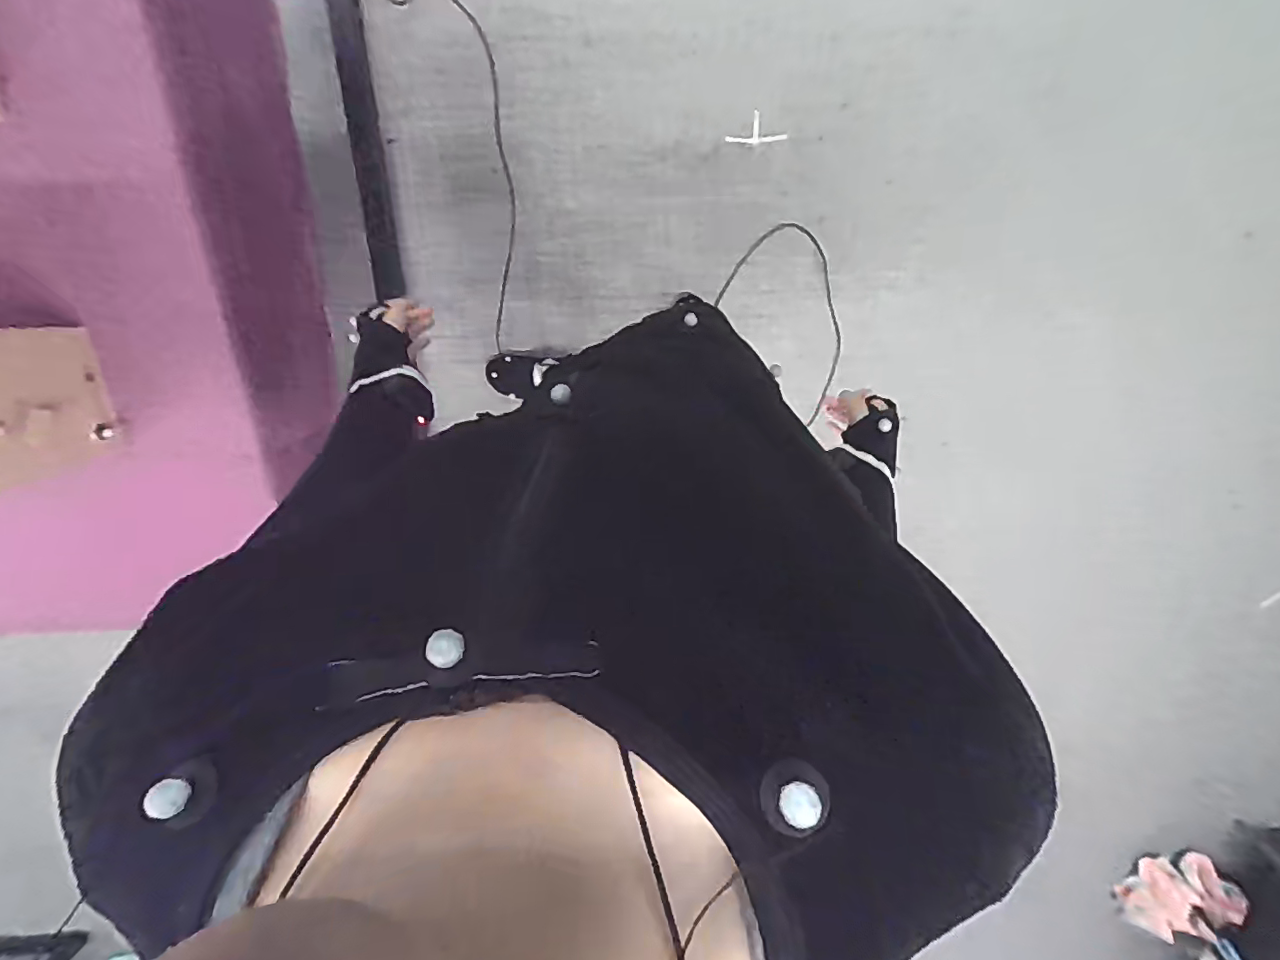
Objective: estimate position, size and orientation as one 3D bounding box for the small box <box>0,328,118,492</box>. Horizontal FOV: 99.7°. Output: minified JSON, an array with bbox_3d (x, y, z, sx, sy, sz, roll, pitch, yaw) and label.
[{"bbox_3d":[-0.788,-0.090,0.645,0.179,0.176,0.168,-1,110,1],"label":"small box"}]
